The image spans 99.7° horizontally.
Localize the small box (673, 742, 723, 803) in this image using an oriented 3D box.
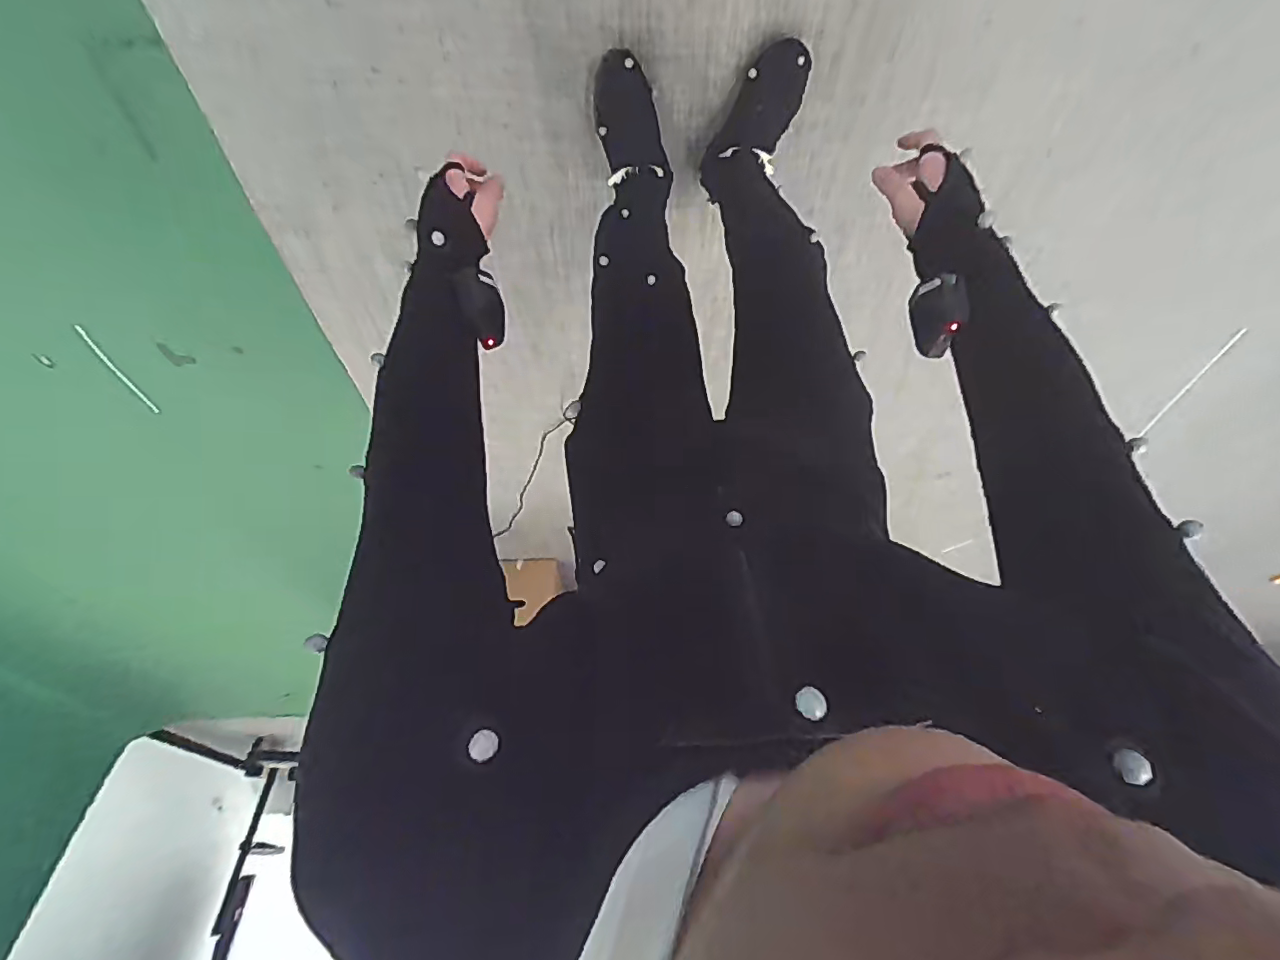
[{"bbox_3d":[0.204,1.057,1.957,0.168,0.176,0.179,-2,142,3],"label":"small box"}]
